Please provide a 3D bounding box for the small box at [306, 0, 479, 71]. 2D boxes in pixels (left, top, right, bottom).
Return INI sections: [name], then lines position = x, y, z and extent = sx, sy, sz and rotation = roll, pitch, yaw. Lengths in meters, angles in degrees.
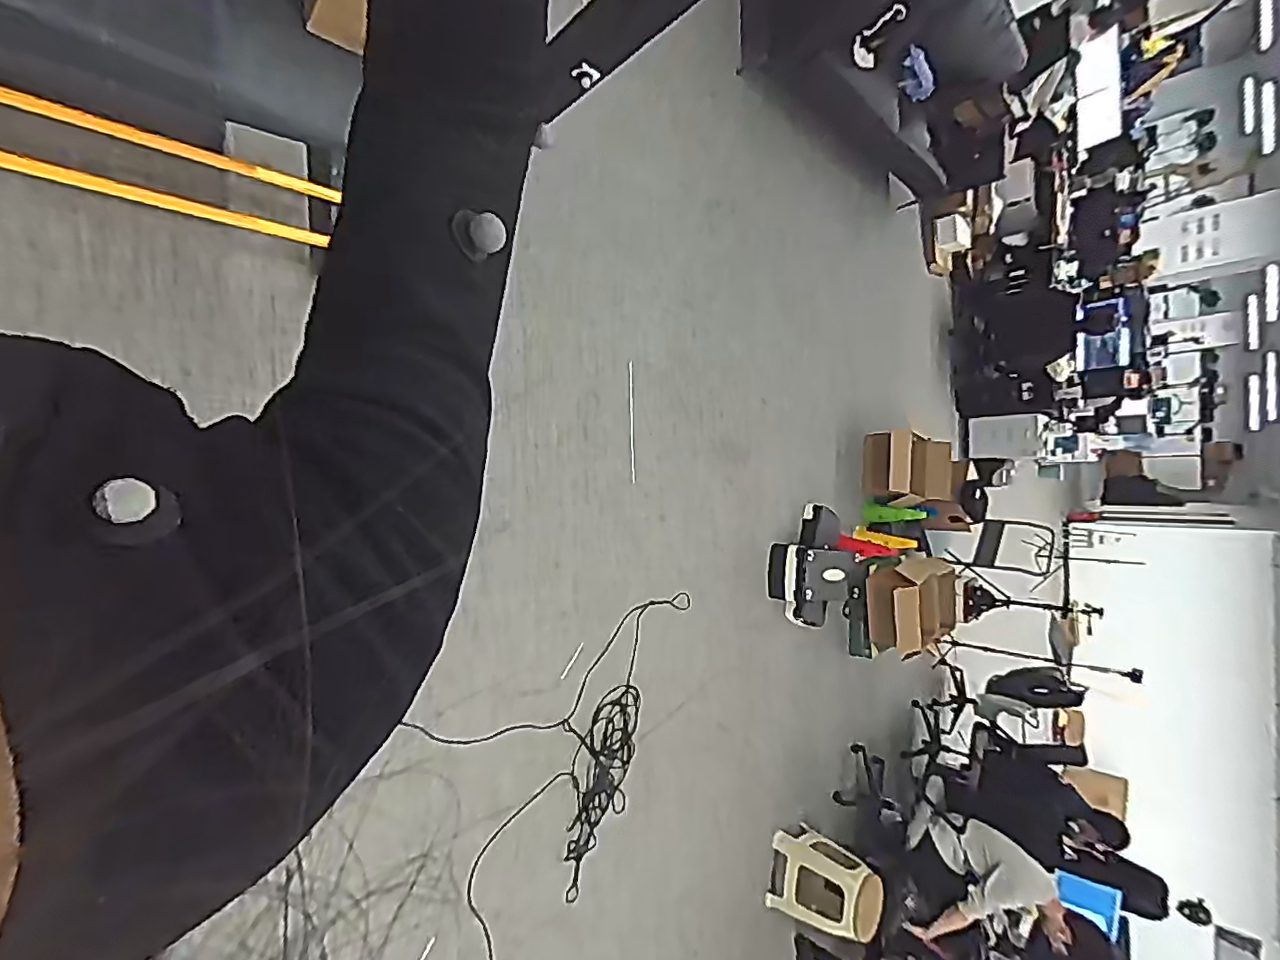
[small box]
position = -0.324, -0.683, 0.694
extent = 0.168, 0.176, 0.179
rotation = -5, 92, -45
